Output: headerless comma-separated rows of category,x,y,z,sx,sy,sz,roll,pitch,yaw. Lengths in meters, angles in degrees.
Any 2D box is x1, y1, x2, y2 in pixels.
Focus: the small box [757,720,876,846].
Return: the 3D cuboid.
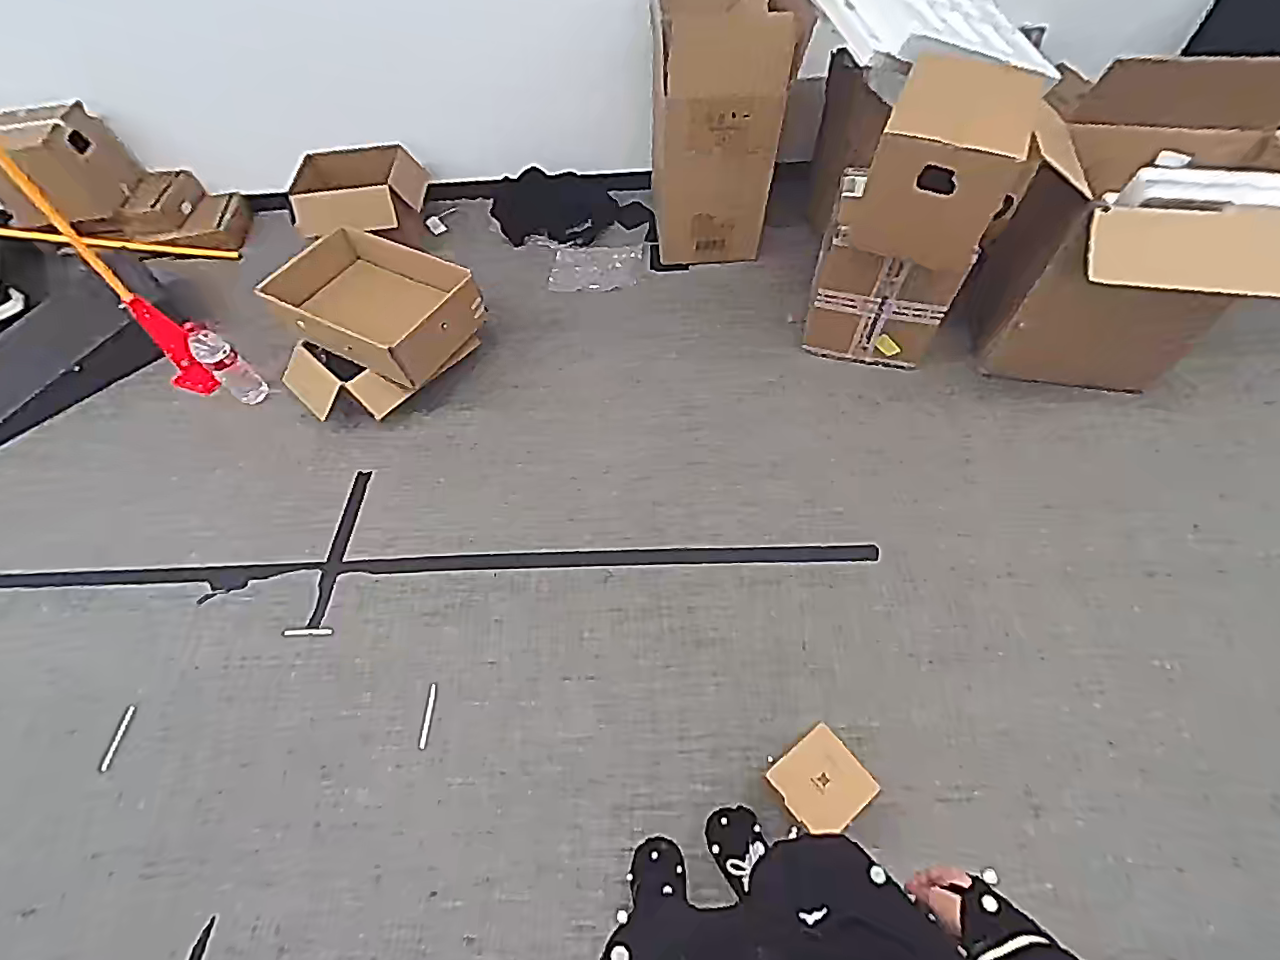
small box,0.376,0.665,1.188,0.179,0.176,0.168,-33,63,-18
